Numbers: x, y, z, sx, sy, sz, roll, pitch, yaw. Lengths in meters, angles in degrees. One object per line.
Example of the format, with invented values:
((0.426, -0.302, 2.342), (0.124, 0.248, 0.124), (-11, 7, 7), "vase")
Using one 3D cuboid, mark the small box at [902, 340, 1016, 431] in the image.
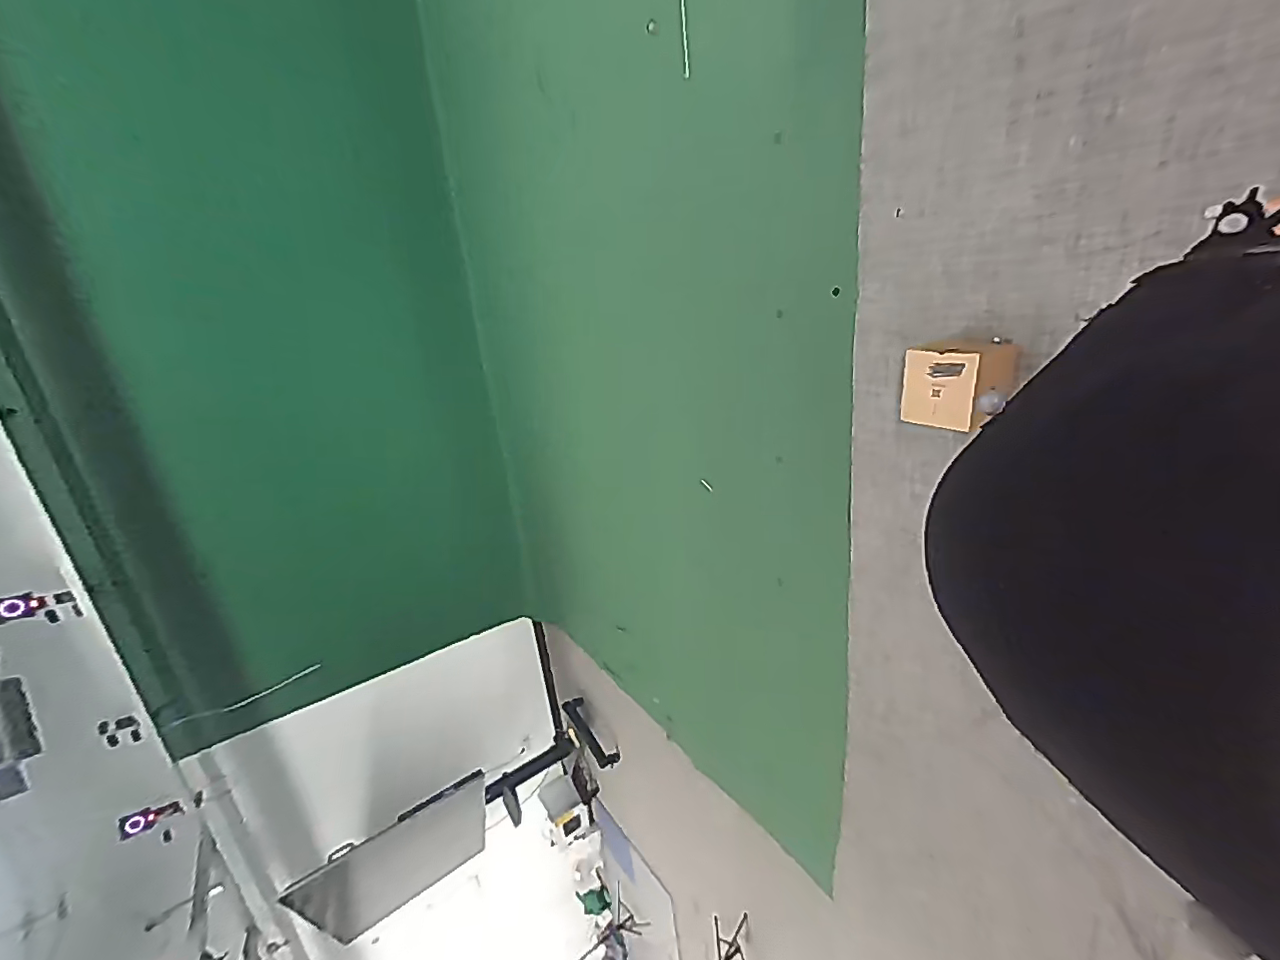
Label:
((0.748, -0.230, 1.269), (0.168, 0.176, 0.179), (25, 126, 52), "small box")
